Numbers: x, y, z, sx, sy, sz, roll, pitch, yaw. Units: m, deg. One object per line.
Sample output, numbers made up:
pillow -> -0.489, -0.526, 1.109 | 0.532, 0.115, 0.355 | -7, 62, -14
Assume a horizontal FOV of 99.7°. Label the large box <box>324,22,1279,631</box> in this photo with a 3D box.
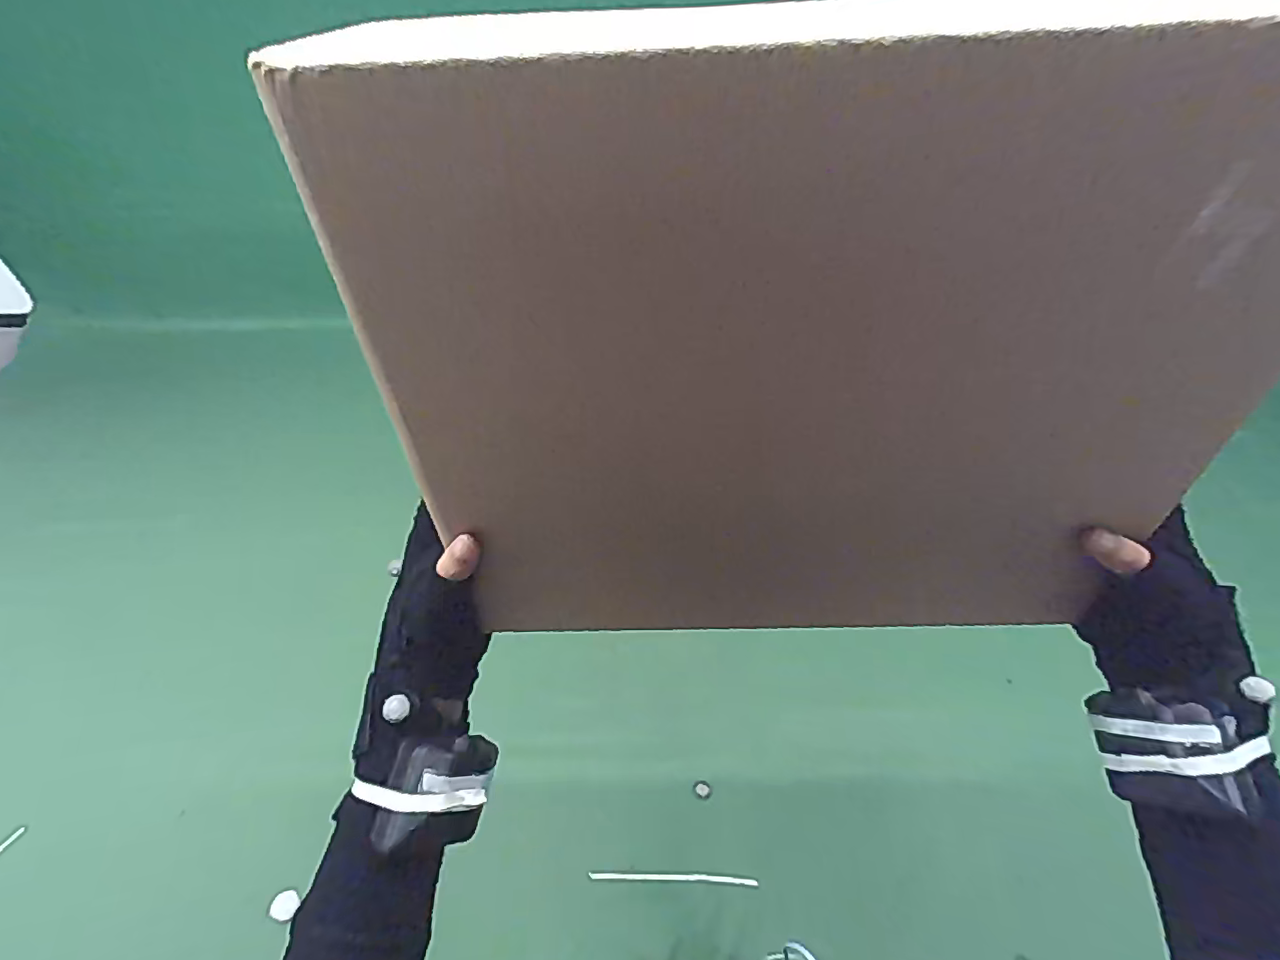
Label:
large box -> 0.092, -0.112, 0.383 | 0.408, 0.320, 0.320 | -1, 41, 0
